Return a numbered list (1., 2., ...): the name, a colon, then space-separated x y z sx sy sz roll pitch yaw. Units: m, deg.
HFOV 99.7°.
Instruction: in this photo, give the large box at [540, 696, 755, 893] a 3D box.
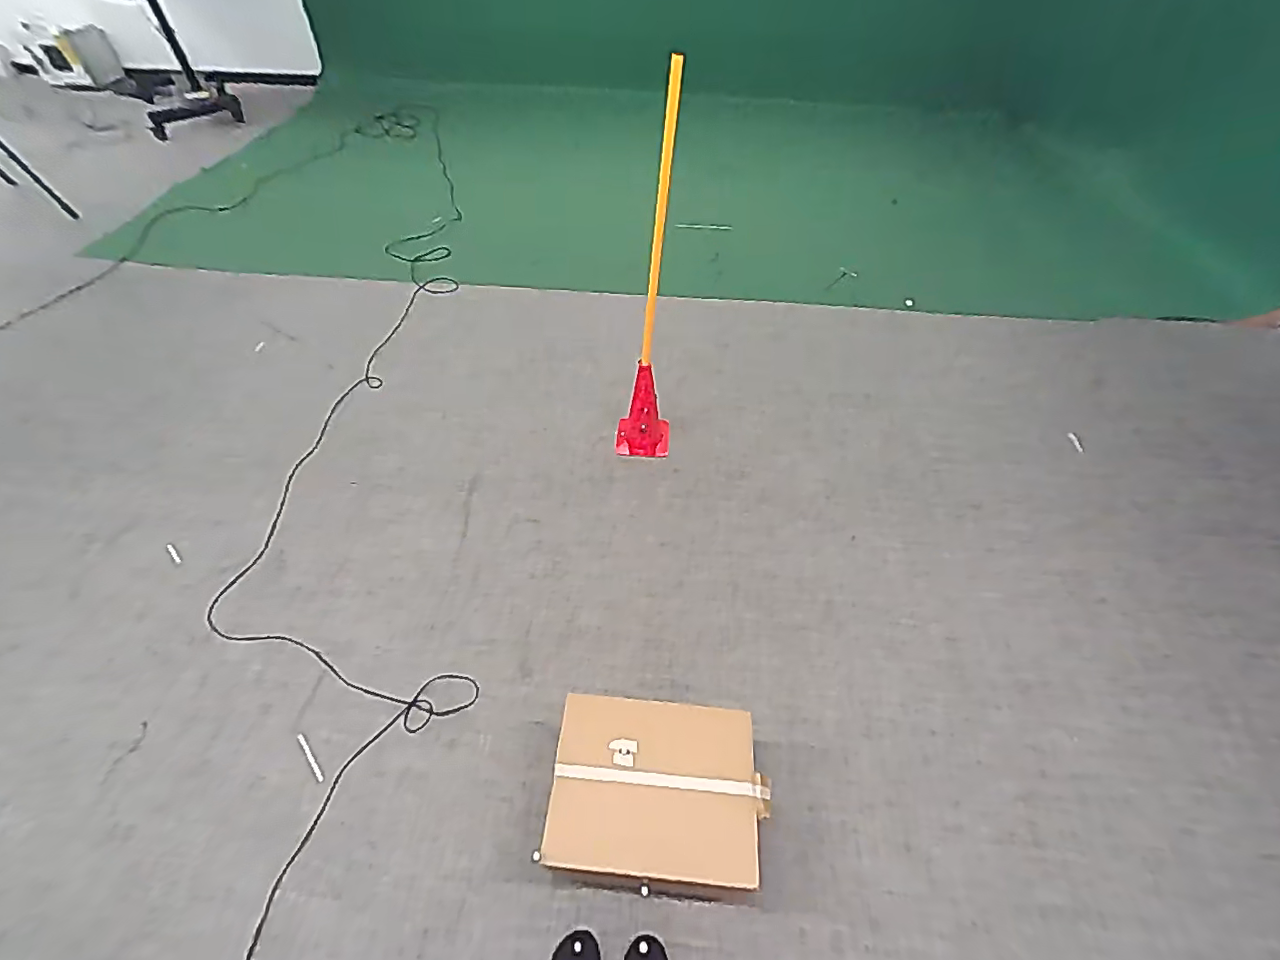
1. large box: 0.025 0.701 1.197 0.408 0.320 0.320 5 49 3
